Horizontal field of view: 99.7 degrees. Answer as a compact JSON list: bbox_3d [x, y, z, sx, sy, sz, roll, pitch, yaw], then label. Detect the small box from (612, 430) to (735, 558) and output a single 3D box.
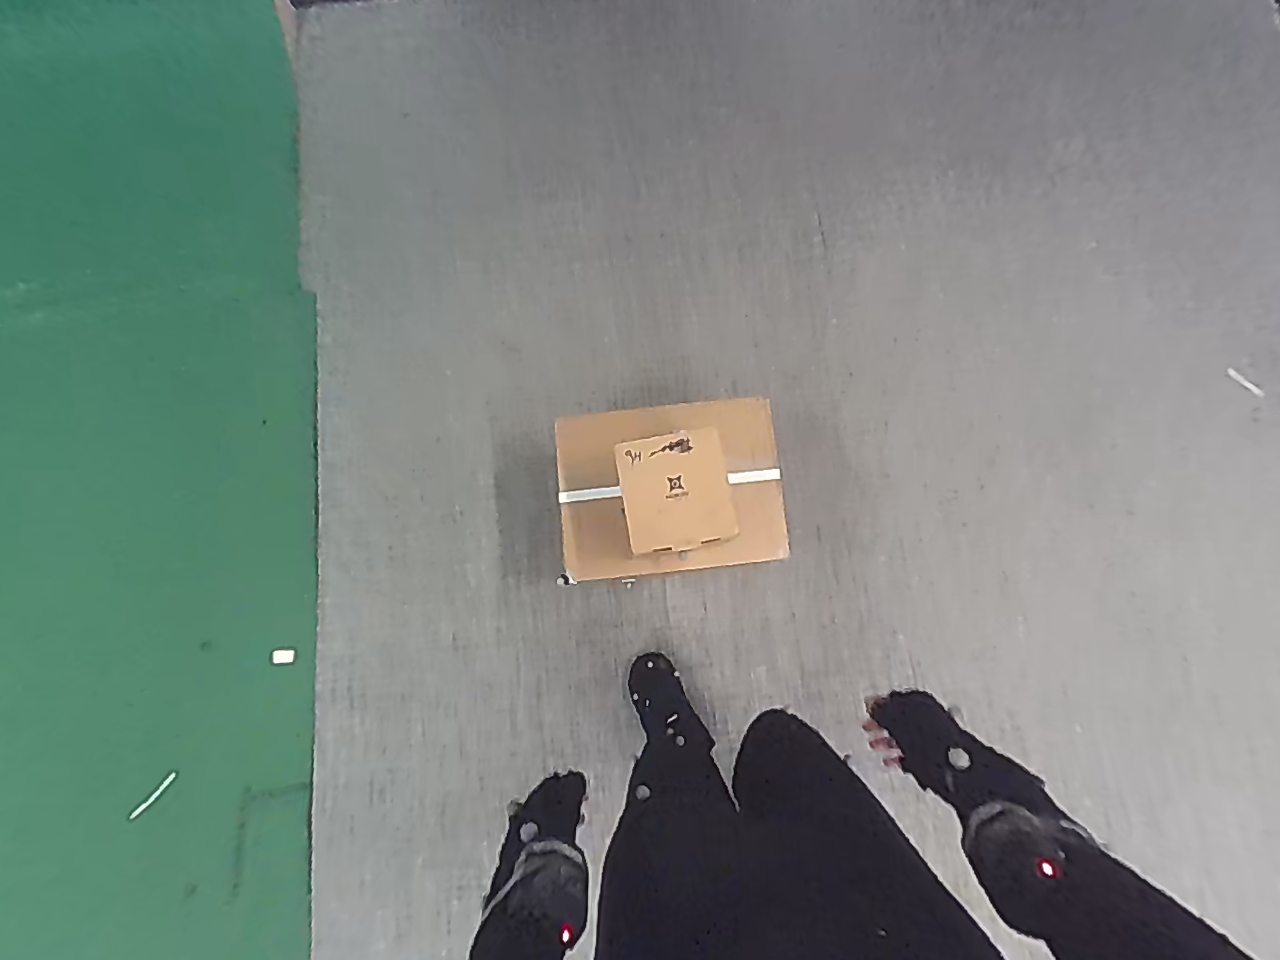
[{"bbox_3d":[0.052,0.032,0.897,0.168,0.176,0.179,-10,80,-1],"label":"small box"}]
